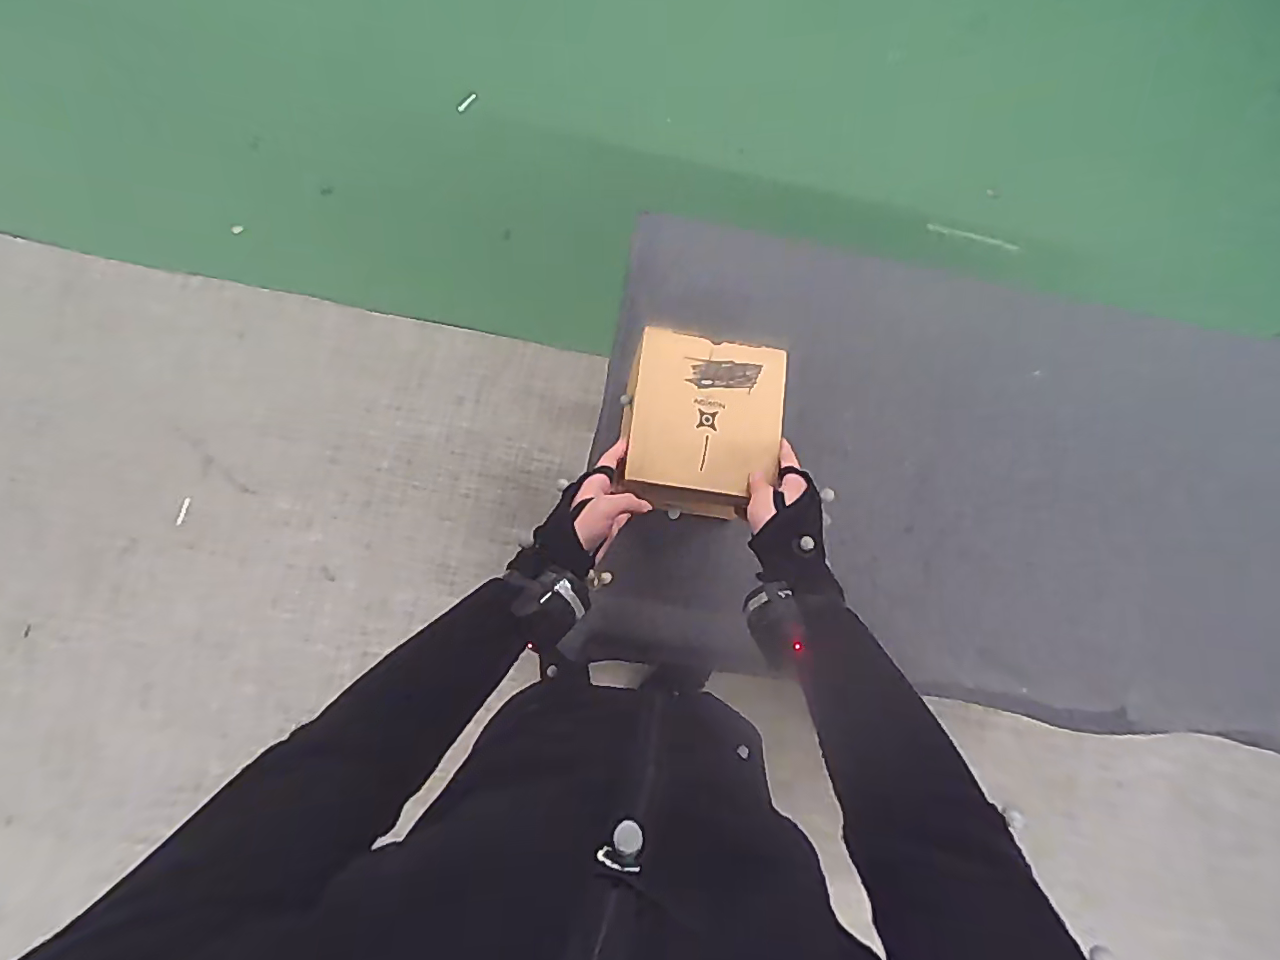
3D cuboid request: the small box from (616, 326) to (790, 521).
[{"bbox_3d":[0.066,-0.056,0.650,0.168,0.176,0.179,9,78,-5],"label":"small box"}]
